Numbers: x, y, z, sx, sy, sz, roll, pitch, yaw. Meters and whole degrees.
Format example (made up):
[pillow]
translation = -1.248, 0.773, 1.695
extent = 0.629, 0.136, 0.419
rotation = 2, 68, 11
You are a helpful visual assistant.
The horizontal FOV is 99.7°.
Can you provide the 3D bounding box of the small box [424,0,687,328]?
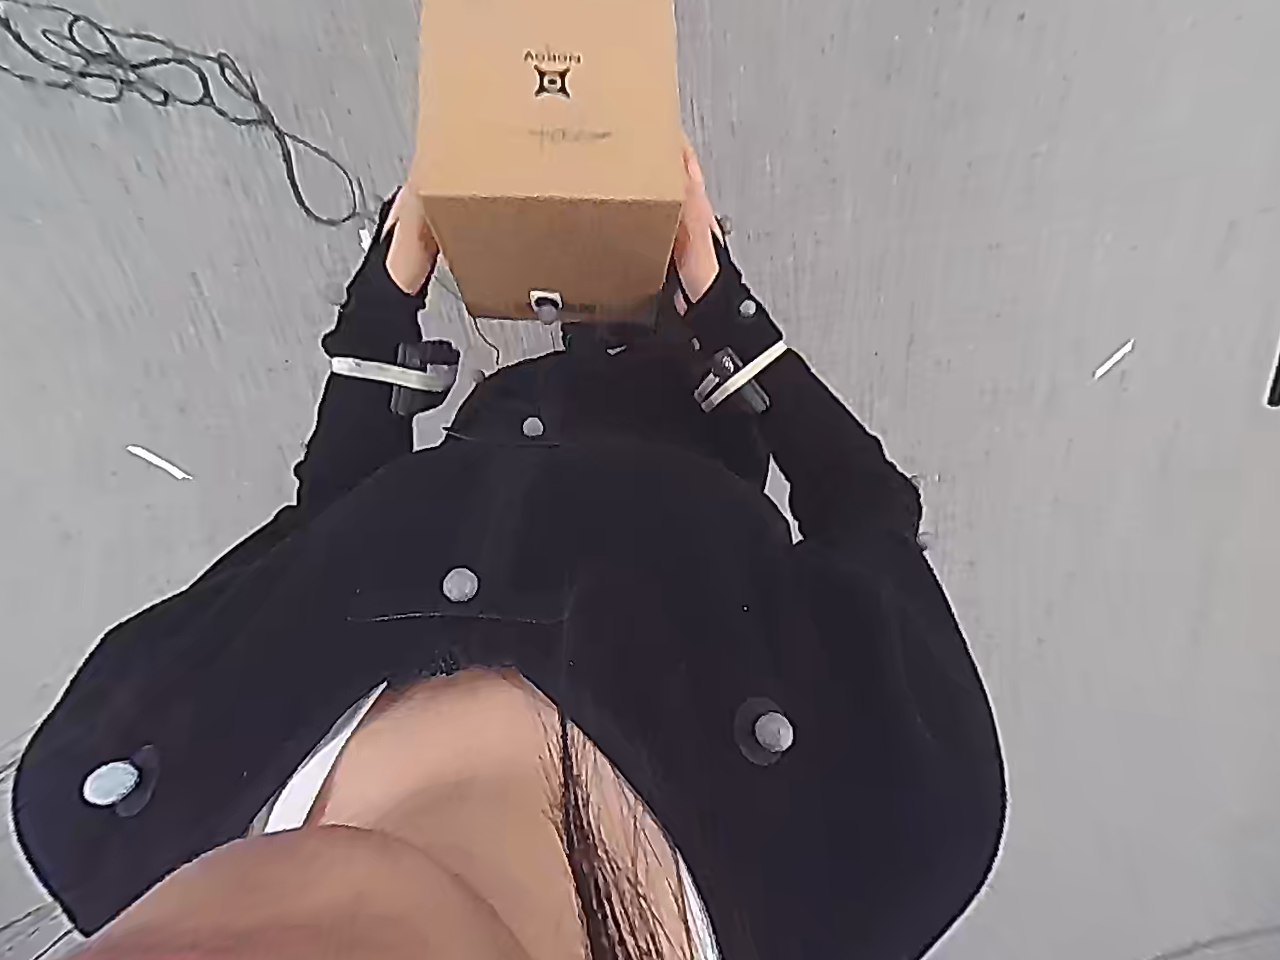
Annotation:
[small box]
translation = -0.062, -0.241, 0.430
extent = 0.168, 0.176, 0.179
rotation = -2, 80, -6
